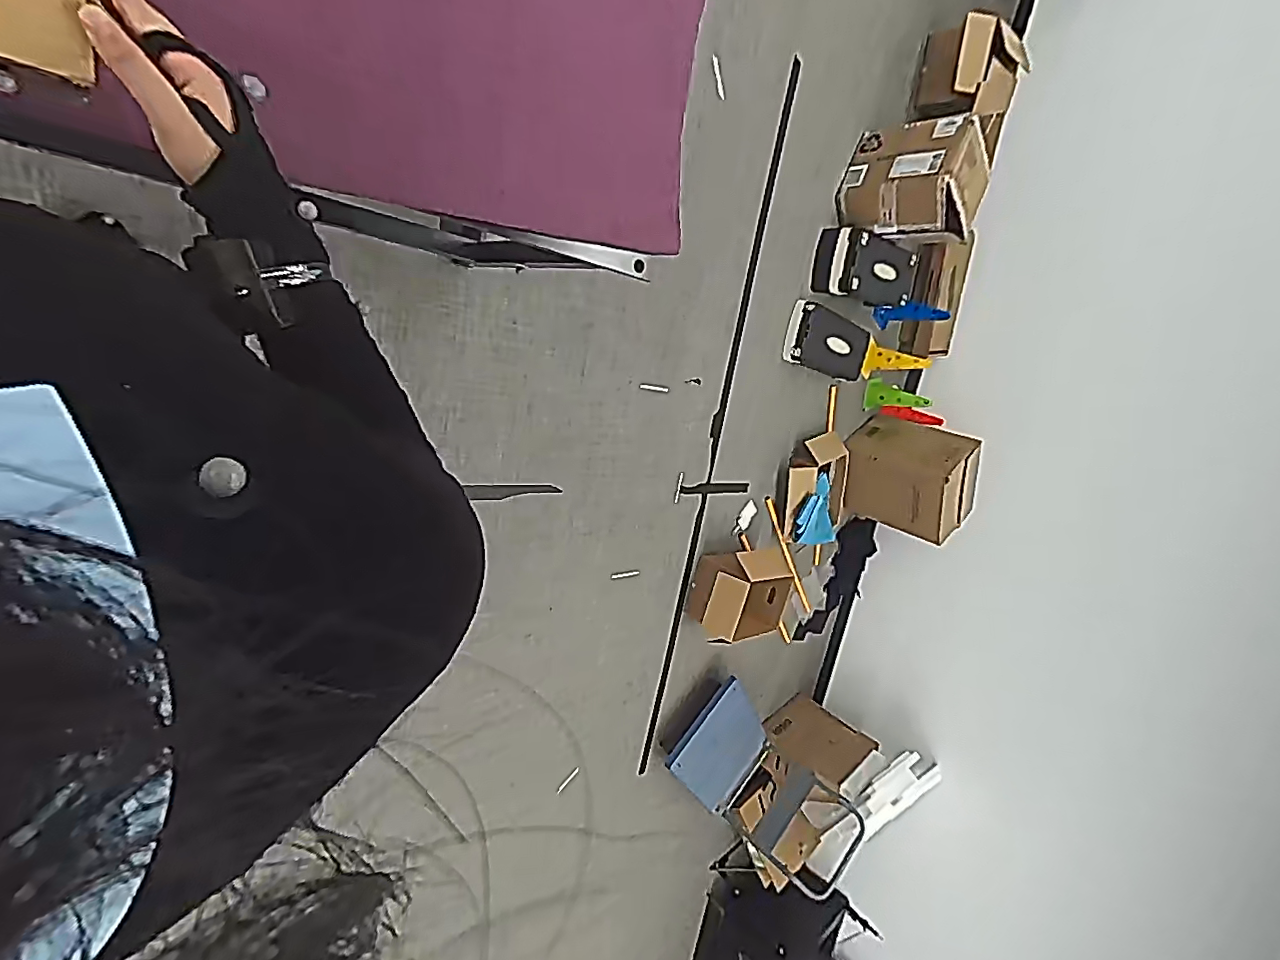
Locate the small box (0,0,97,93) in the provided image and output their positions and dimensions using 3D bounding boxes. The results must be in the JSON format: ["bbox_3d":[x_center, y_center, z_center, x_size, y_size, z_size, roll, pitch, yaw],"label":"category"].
[{"bbox_3d":[-0.418,-0.328,0.280,0.179,0.176,0.168,-9,118,-48],"label":"small box"}]
